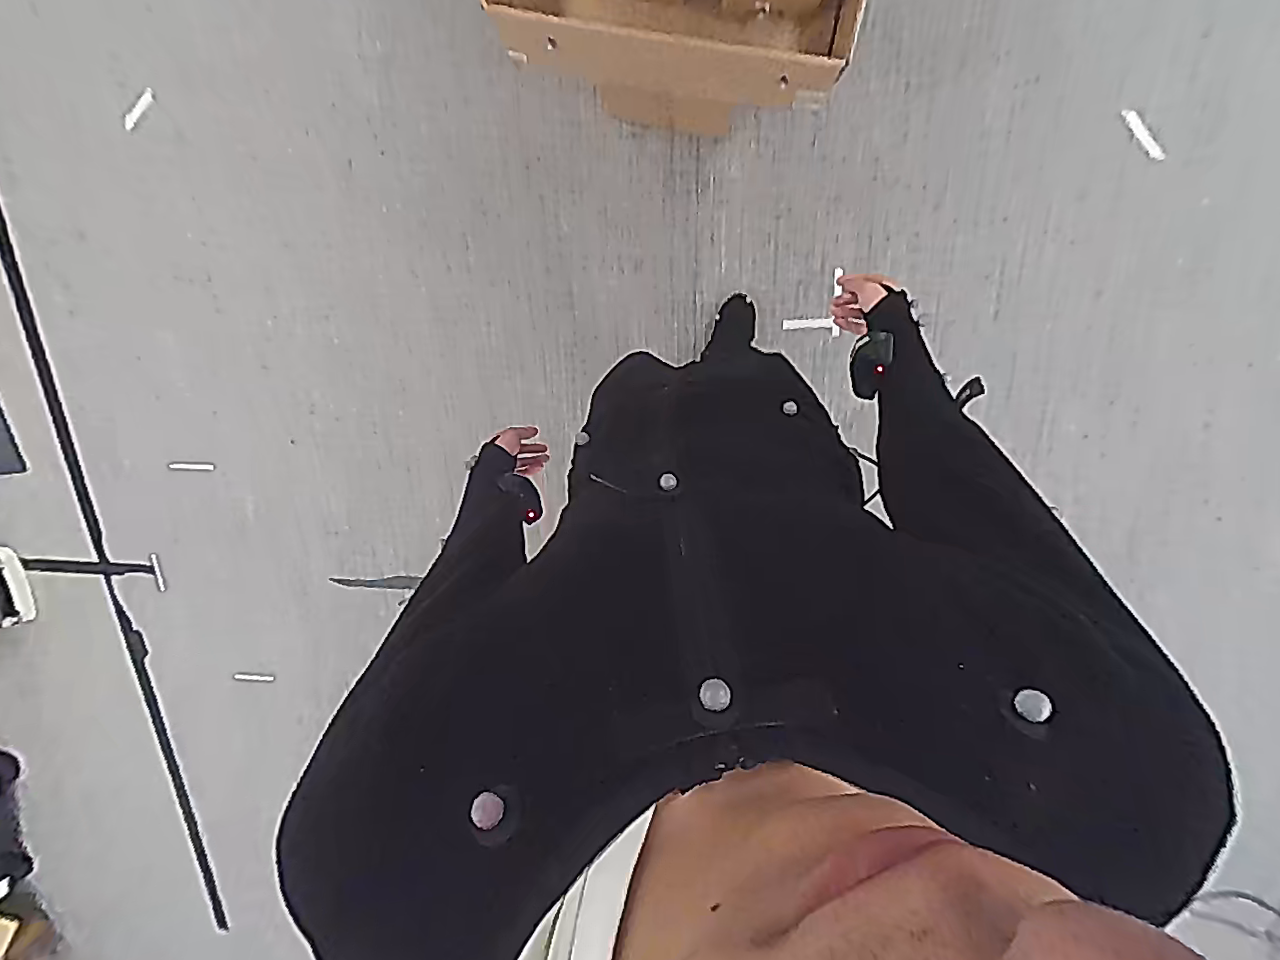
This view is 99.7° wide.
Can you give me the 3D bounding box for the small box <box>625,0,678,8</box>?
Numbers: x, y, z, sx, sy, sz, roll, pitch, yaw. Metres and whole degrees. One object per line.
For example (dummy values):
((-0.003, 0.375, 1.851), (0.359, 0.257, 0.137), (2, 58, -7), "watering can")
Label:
((0.003, -0.912, 0.873), (0.179, 0.176, 0.168), (11, 106, 0), "small box")
